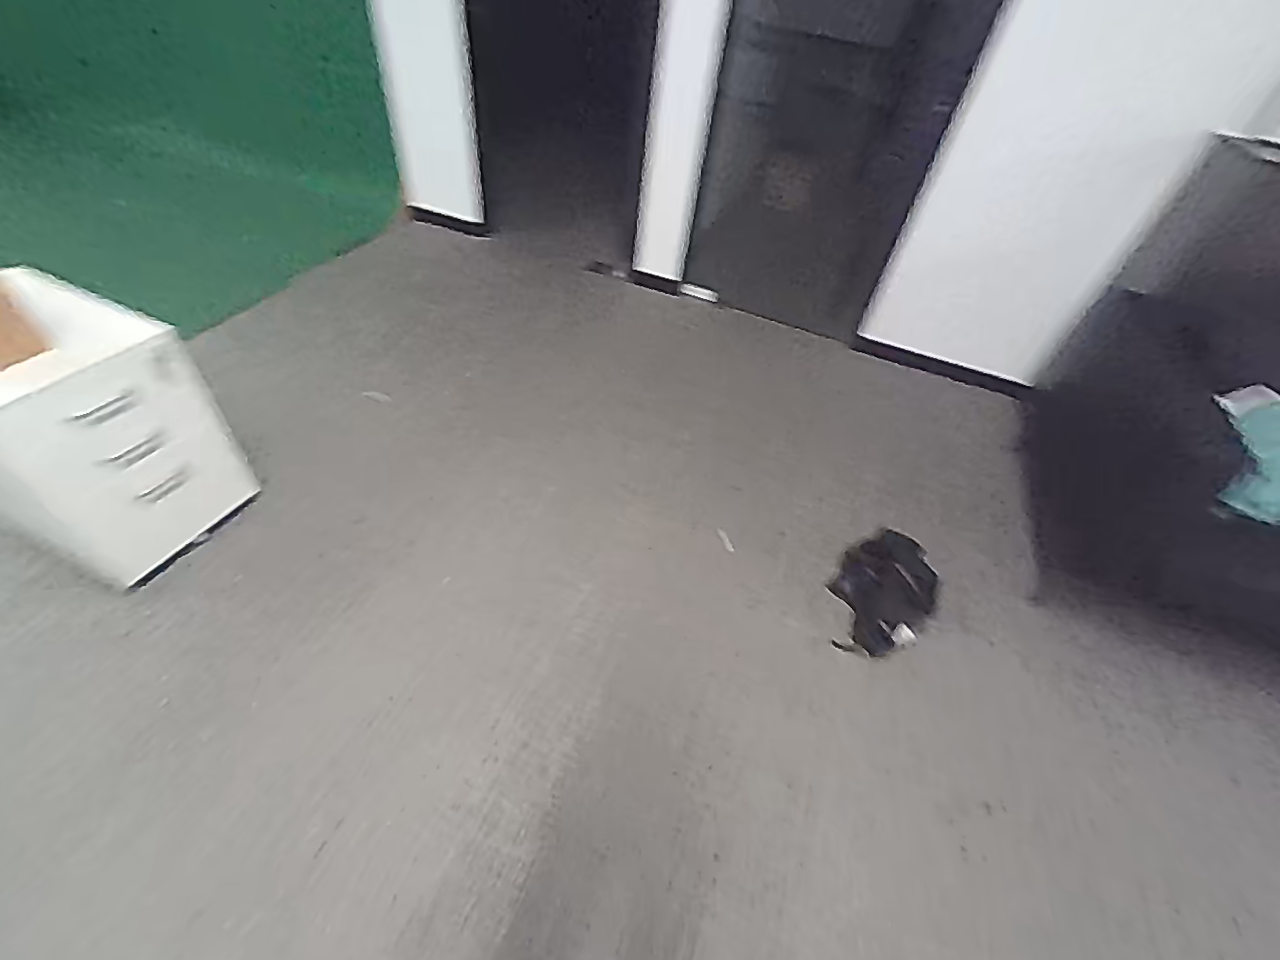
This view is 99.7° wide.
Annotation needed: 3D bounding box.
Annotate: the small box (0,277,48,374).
[{"bbox_3d":[-1.342,-0.308,1.060,0.168,0.176,0.179,21,47,10],"label":"small box"}]
